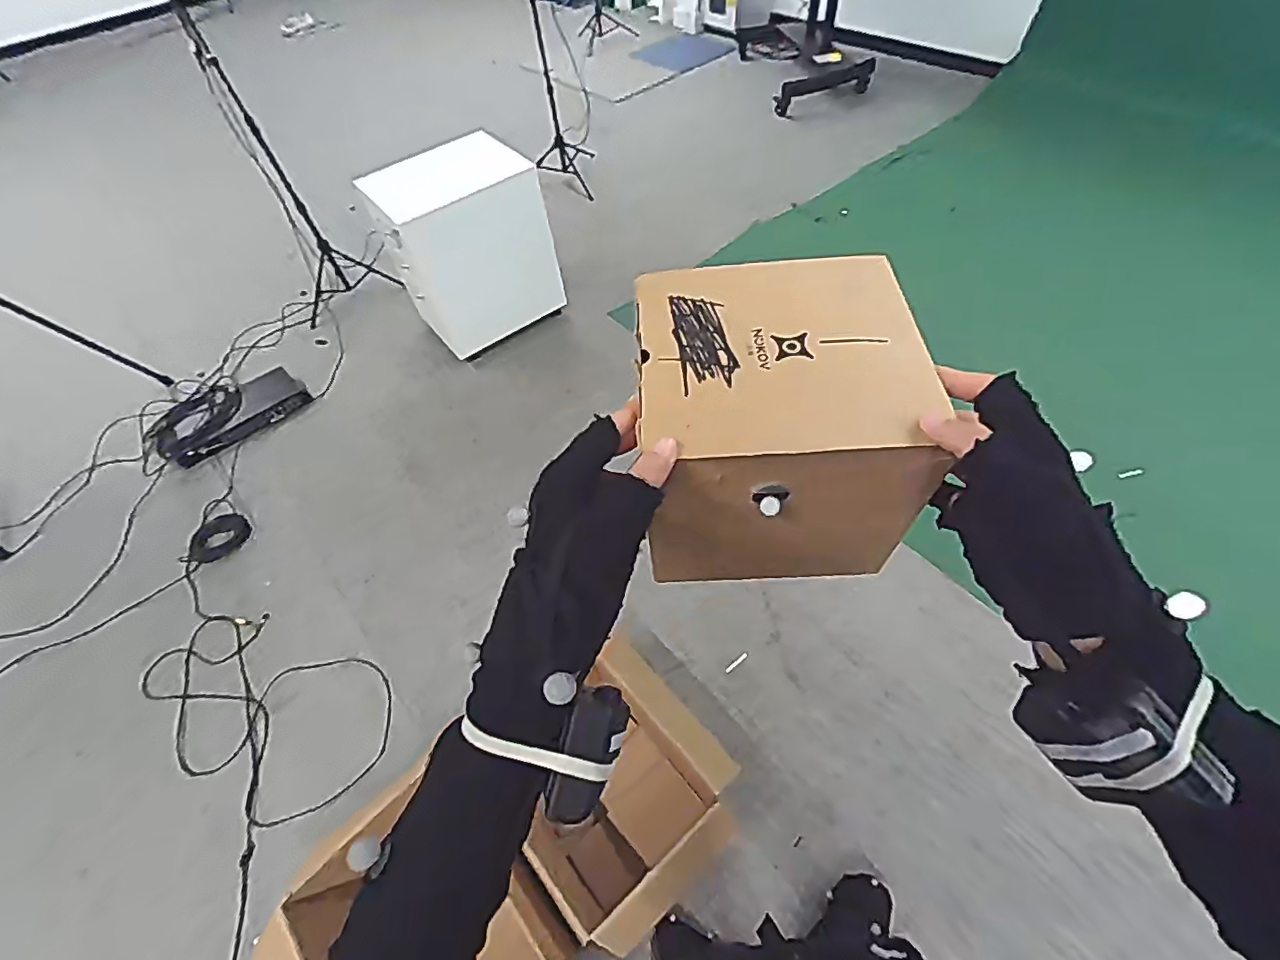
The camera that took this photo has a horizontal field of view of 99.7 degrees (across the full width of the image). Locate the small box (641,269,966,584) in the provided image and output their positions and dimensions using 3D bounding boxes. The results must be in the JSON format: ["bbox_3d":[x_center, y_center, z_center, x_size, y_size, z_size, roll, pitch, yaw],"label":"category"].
[{"bbox_3d":[0.094,-0.030,0.402,0.179,0.176,0.168,-2,56,3],"label":"small box"}]
